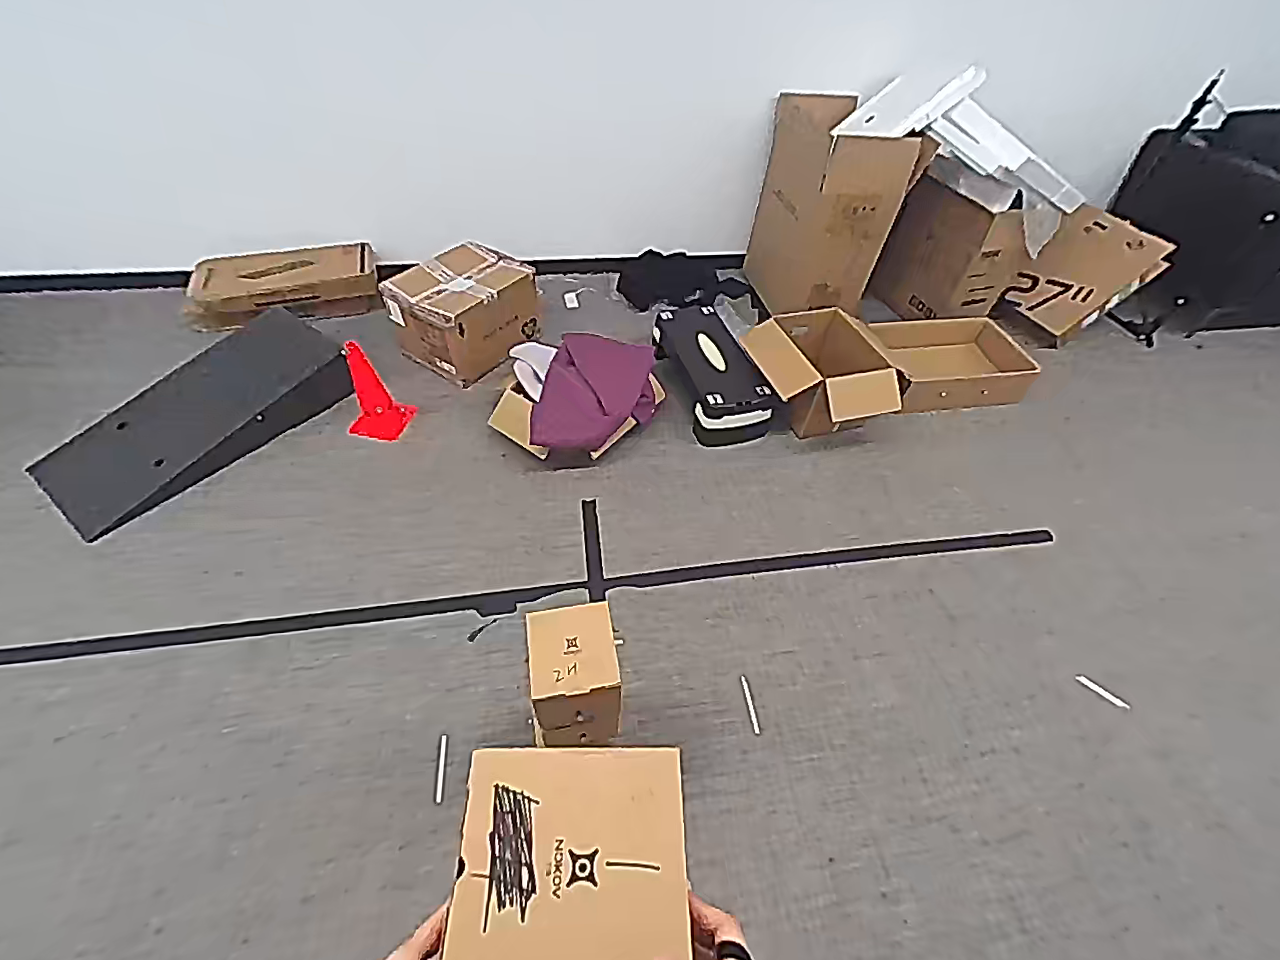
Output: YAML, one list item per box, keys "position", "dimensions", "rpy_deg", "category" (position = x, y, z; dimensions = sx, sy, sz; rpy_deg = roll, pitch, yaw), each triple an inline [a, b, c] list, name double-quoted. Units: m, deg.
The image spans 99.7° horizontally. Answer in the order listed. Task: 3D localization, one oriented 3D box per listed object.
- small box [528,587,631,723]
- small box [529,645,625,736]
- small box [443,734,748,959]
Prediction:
- position: [-0.115, 0.328, 1.011]
  dimensions: [0.168, 0.176, 0.179]
  rpy_deg: [-8, 50, -9]
  category: "small box"
- position: [-0.130, 0.439, 1.133]
  dimensions: [0.168, 0.176, 0.179]
  rpy_deg: [-11, 51, -12]
  category: "small box"
- position: [-0.030, 0.296, 0.390]
  dimensions: [0.179, 0.176, 0.168]
  rpy_deg: [1, 49, -4]
  category: "small box"
